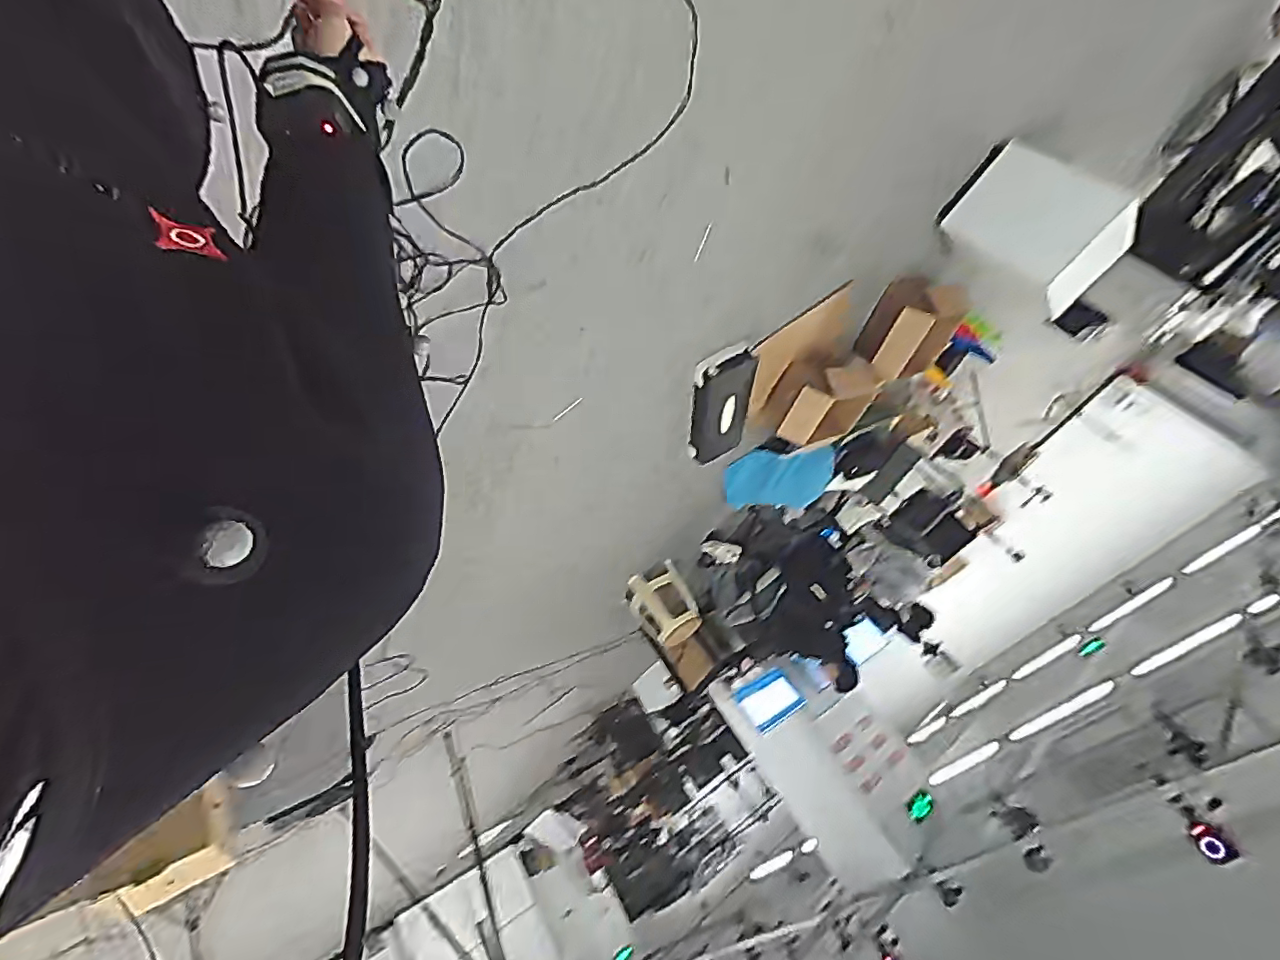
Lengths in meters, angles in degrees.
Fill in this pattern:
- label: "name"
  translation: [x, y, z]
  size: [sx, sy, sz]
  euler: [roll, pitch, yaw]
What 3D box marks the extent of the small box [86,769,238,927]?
- label: "small box"
  translation: [-0.866, 0.662, 0.986]
  size: [0.168, 0.176, 0.179]
  euler: [-17, 146, -32]
